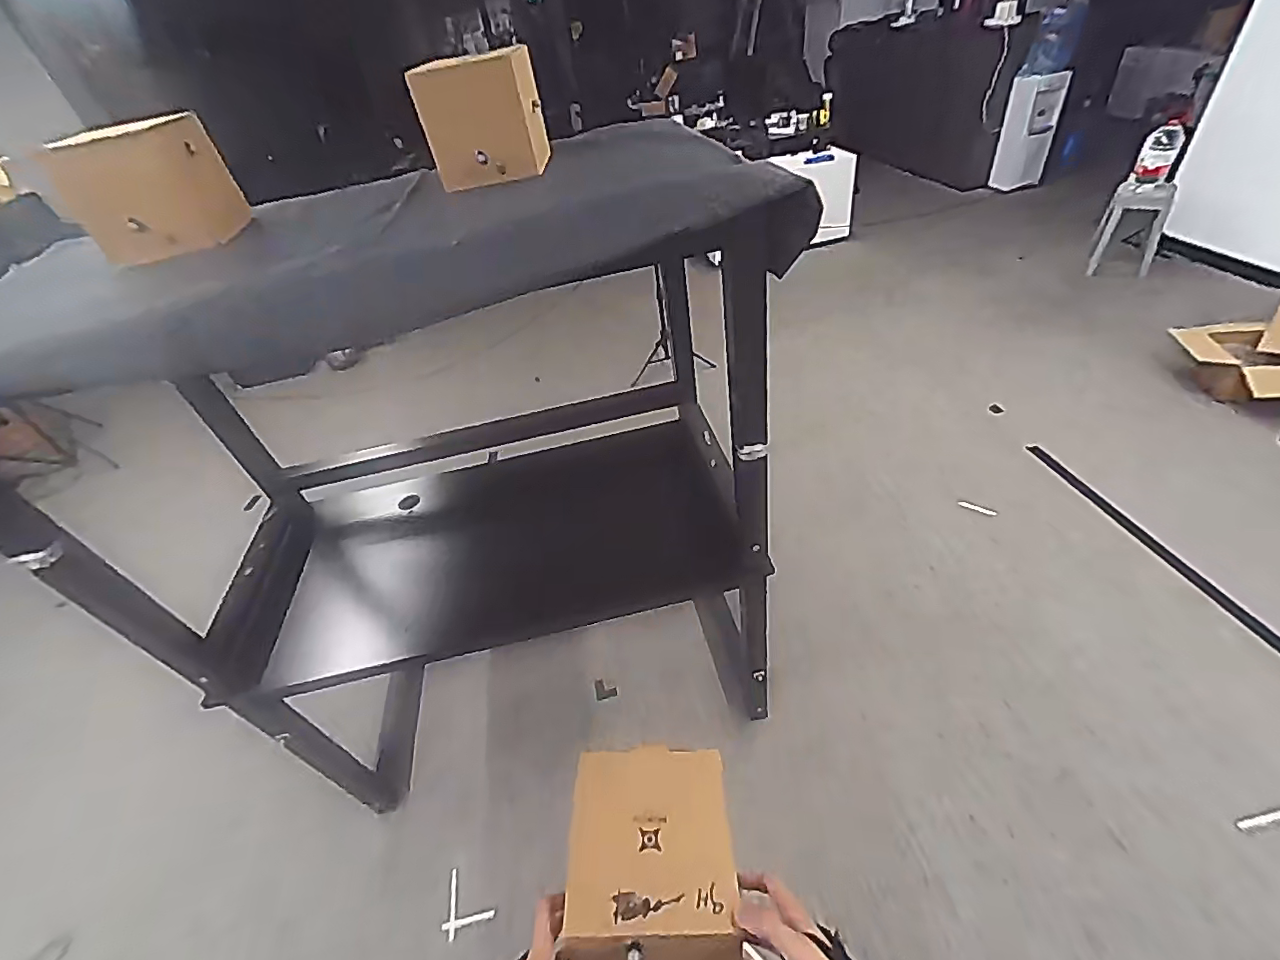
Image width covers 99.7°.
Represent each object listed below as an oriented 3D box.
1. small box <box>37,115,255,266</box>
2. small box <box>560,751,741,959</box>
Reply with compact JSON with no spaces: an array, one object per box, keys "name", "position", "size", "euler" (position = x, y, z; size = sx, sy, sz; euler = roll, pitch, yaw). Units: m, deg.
[{"name":"small box","position":[-0.771,-0.467,0.874],"size":[0.168,0.176,0.179],"euler":[-14,42,-3]},{"name":"small box","position":[0.015,0.428,0.593],"size":[0.168,0.176,0.179],"euler":[-3,31,3]}]
